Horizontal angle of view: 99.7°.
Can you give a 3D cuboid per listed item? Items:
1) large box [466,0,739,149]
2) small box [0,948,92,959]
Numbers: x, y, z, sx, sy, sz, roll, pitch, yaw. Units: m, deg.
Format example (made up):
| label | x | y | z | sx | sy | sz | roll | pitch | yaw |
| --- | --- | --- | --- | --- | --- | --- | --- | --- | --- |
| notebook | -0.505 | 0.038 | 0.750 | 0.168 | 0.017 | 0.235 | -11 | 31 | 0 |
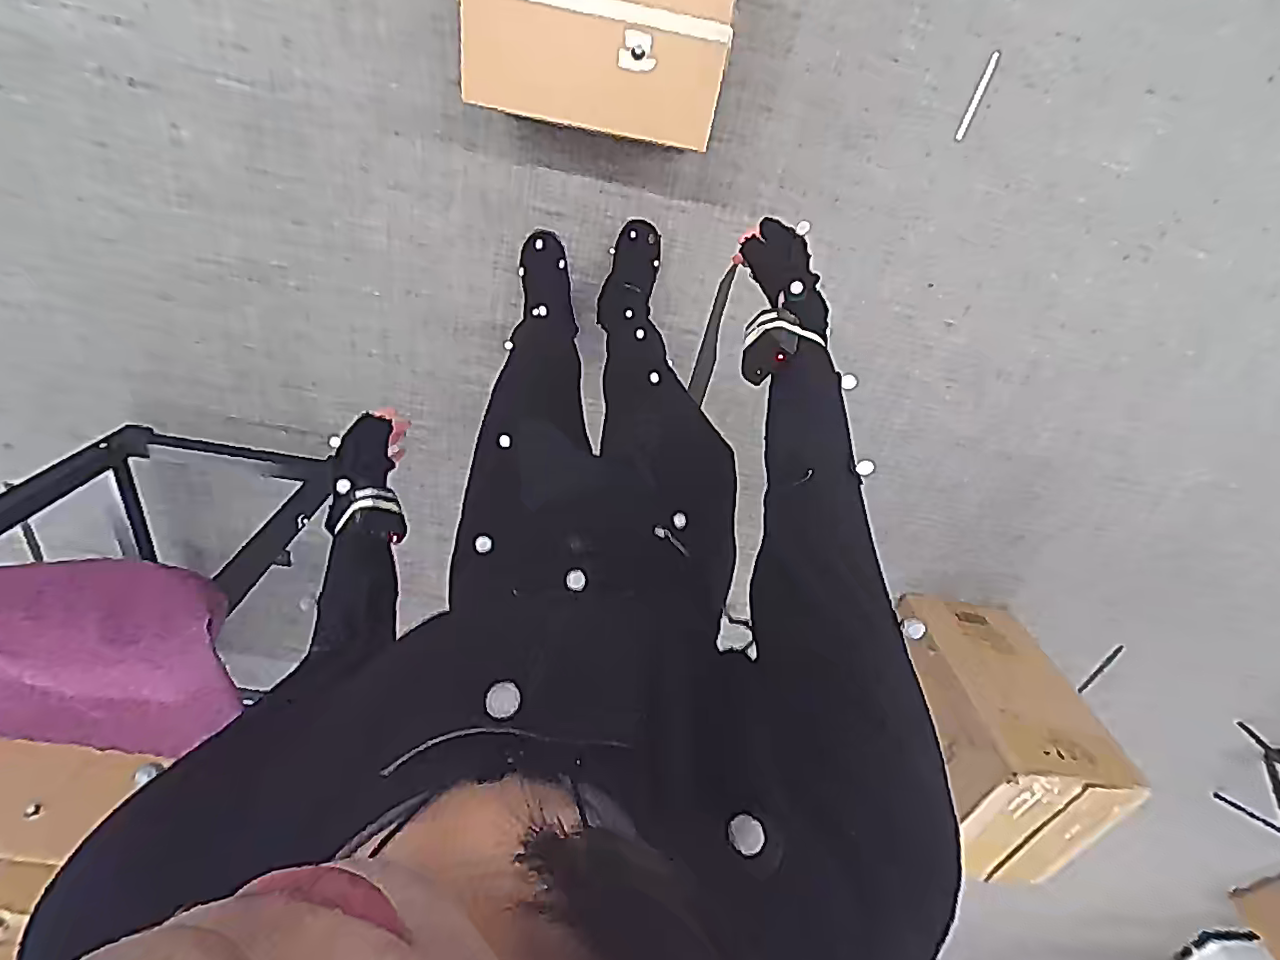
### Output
| label | x | y | z | sx | sy | sz | roll | pitch | yaw |
| --- | --- | --- | --- | --- | --- | --- | --- | --- | --- |
| large box | -0.061 | -0.778 | 0.922 | 0.408 | 0.320 | 0.320 | 7 | 122 | -6 |
| small box | -1.072 | 0.932 | 0.918 | 0.179 | 0.176 | 0.168 | 11 | 119 | -6 |
